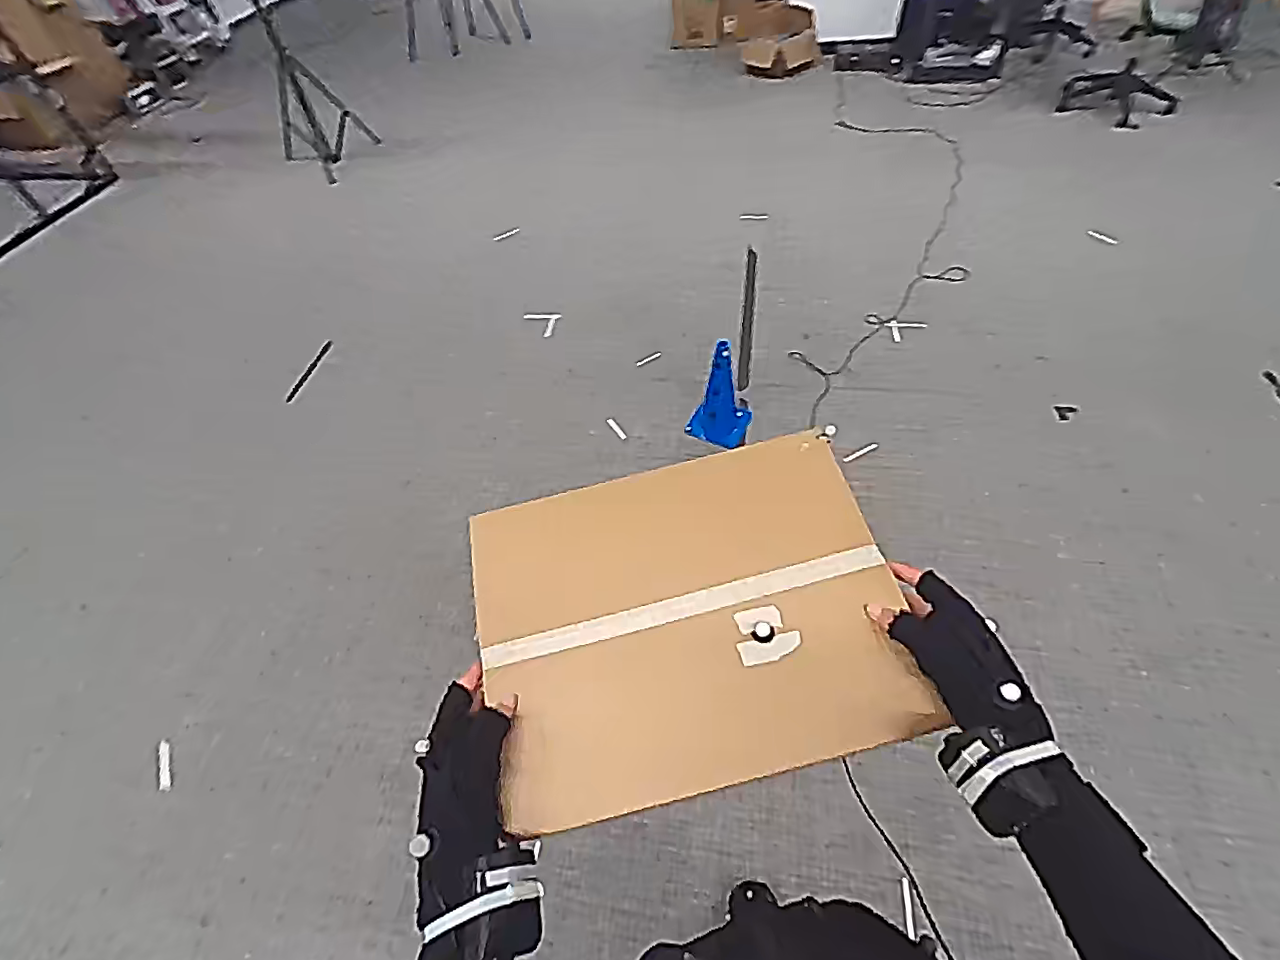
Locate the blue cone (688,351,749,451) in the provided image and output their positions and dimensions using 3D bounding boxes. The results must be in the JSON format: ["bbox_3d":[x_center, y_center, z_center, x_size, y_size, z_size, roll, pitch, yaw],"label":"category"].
[{"bbox_3d":[0.275,-0.293,1.857,0.193,0.380,0.192,21,58,21],"label":"blue cone"}]

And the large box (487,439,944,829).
[{"bbox_3d":[0.063,0.199,0.677,0.408,0.320,0.320,-14,62,0],"label":"large box"}]
